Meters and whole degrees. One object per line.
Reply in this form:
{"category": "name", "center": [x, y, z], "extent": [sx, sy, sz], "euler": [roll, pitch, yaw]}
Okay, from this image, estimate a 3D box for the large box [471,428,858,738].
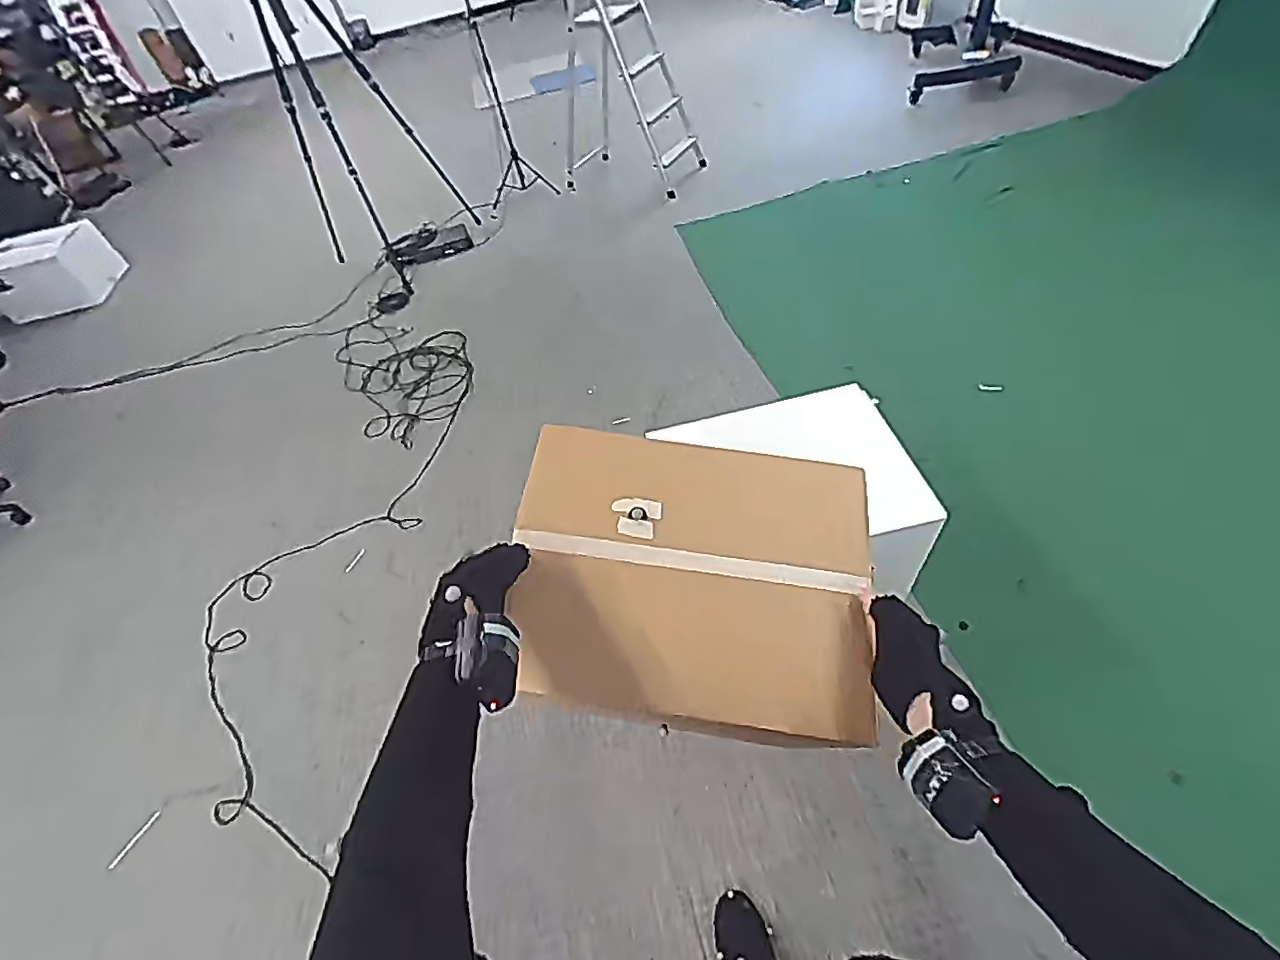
{"category": "large box", "center": [0.044, 0.157, 0.743], "extent": [0.408, 0.320, 0.320], "euler": [8, 64, 5]}
